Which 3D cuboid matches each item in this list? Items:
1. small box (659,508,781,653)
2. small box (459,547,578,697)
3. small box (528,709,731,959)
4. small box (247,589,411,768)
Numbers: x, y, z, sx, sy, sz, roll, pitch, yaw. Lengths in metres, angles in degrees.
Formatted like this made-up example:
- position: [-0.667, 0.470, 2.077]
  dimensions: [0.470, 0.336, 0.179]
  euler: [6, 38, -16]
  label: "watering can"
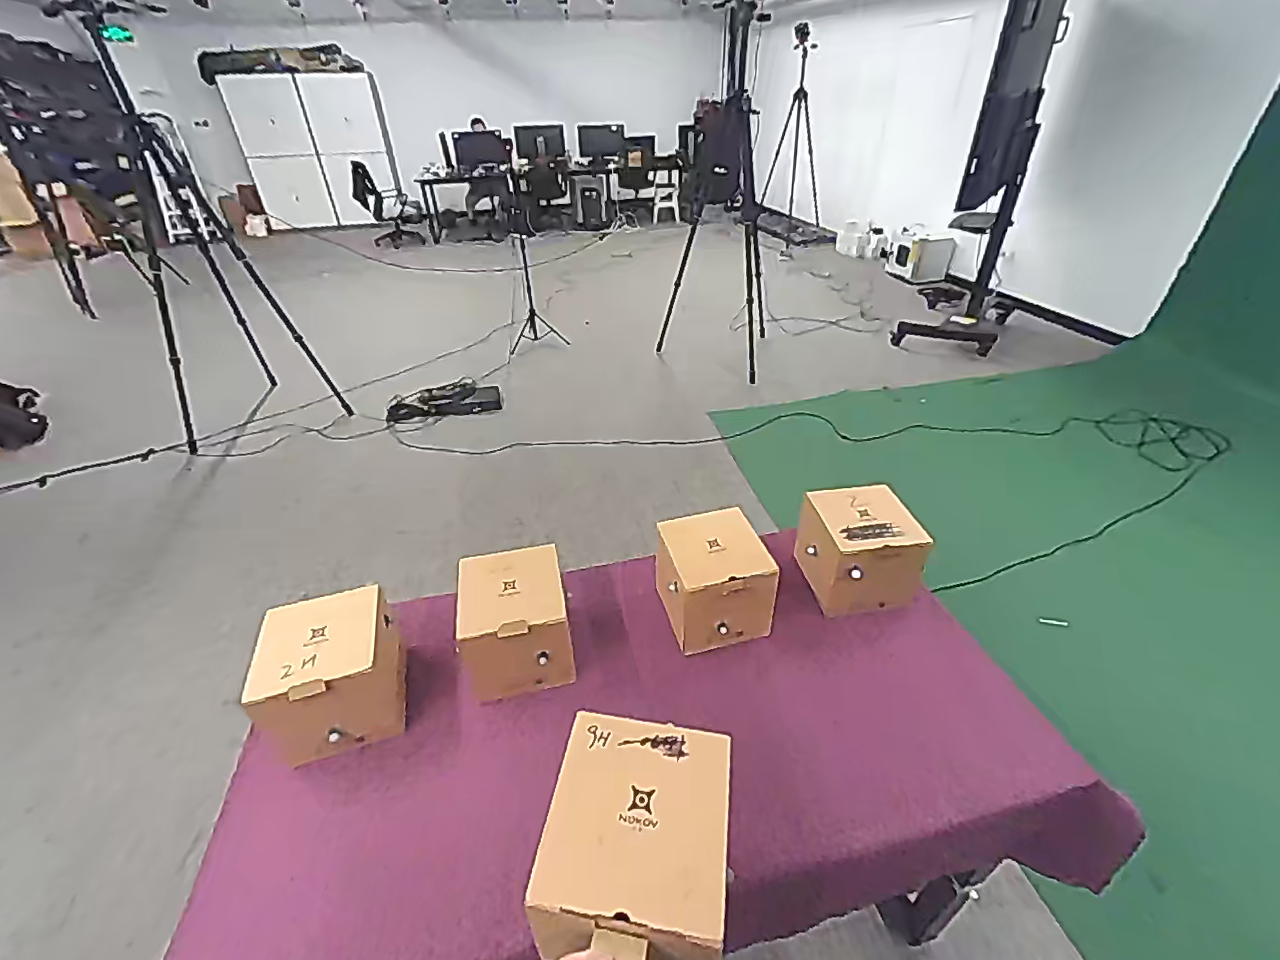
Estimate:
- position: [0.135, 0.180, 0.984]
  dimensions: [0.168, 0.176, 0.179]
  euler: [-11, 37, -11]
  label: "small box"
- position: [-0.202, 0.244, 0.917]
  dimensions: [0.168, 0.176, 0.179]
  euler: [-8, 36, -10]
  label: "small box"
- position: [0.001, 0.370, 0.552]
  dimensions: [0.168, 0.176, 0.179]
  euler: [6, 37, 7]
  label: "small box"
- position: [-0.468, 0.307, 0.845]
  dimensions: [0.168, 0.176, 0.179]
  euler: [-13, 37, -14]
  label: "small box"
